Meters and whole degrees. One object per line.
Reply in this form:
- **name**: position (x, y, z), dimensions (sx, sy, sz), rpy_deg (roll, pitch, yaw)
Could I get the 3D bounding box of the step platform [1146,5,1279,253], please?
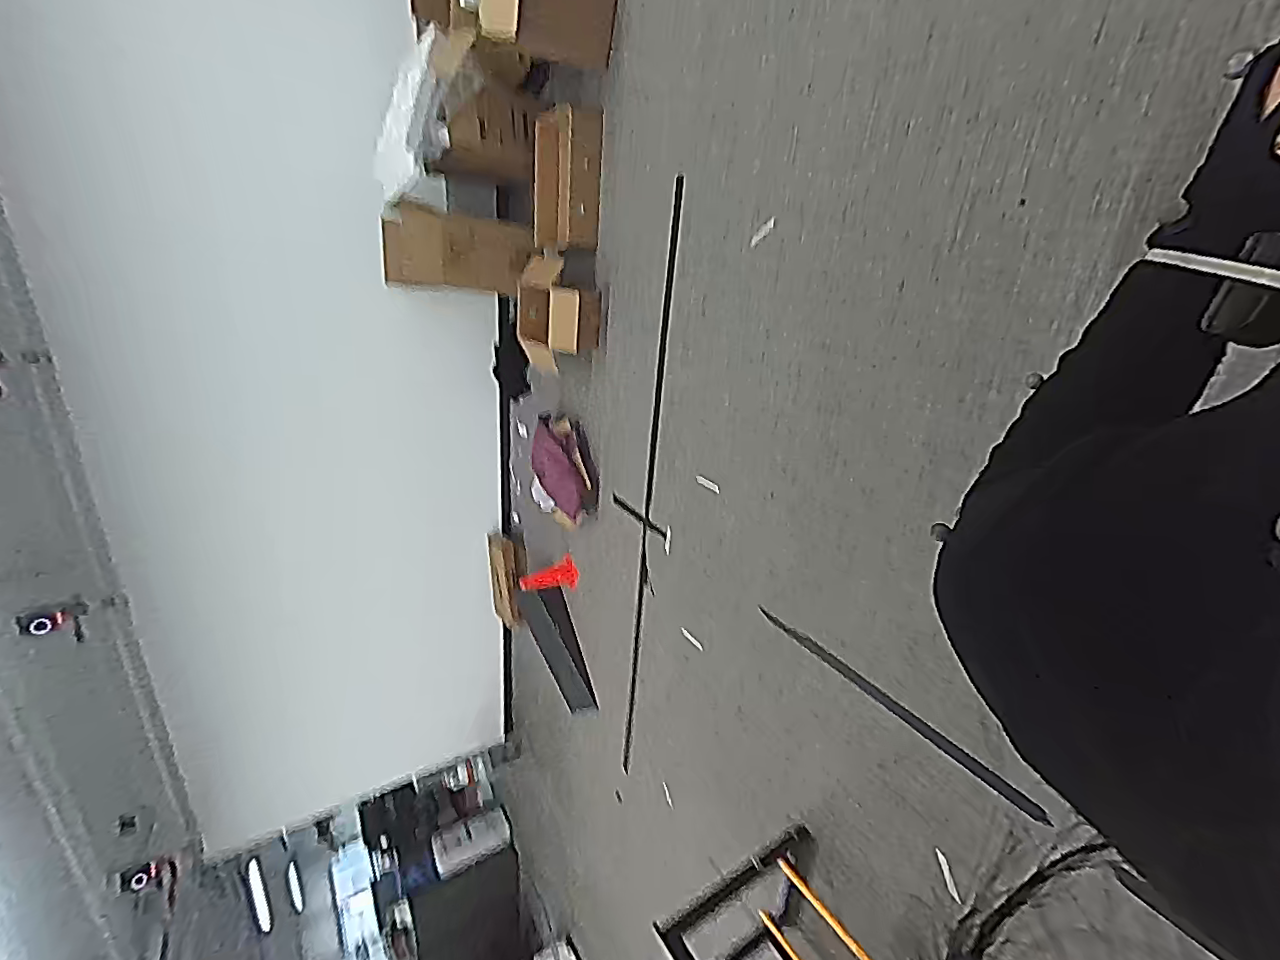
- **step platform**: position (1.035, -0.401, 0.582), dimensions (0.684, 0.204, 0.286), rpy_deg (30, 122, 49)
